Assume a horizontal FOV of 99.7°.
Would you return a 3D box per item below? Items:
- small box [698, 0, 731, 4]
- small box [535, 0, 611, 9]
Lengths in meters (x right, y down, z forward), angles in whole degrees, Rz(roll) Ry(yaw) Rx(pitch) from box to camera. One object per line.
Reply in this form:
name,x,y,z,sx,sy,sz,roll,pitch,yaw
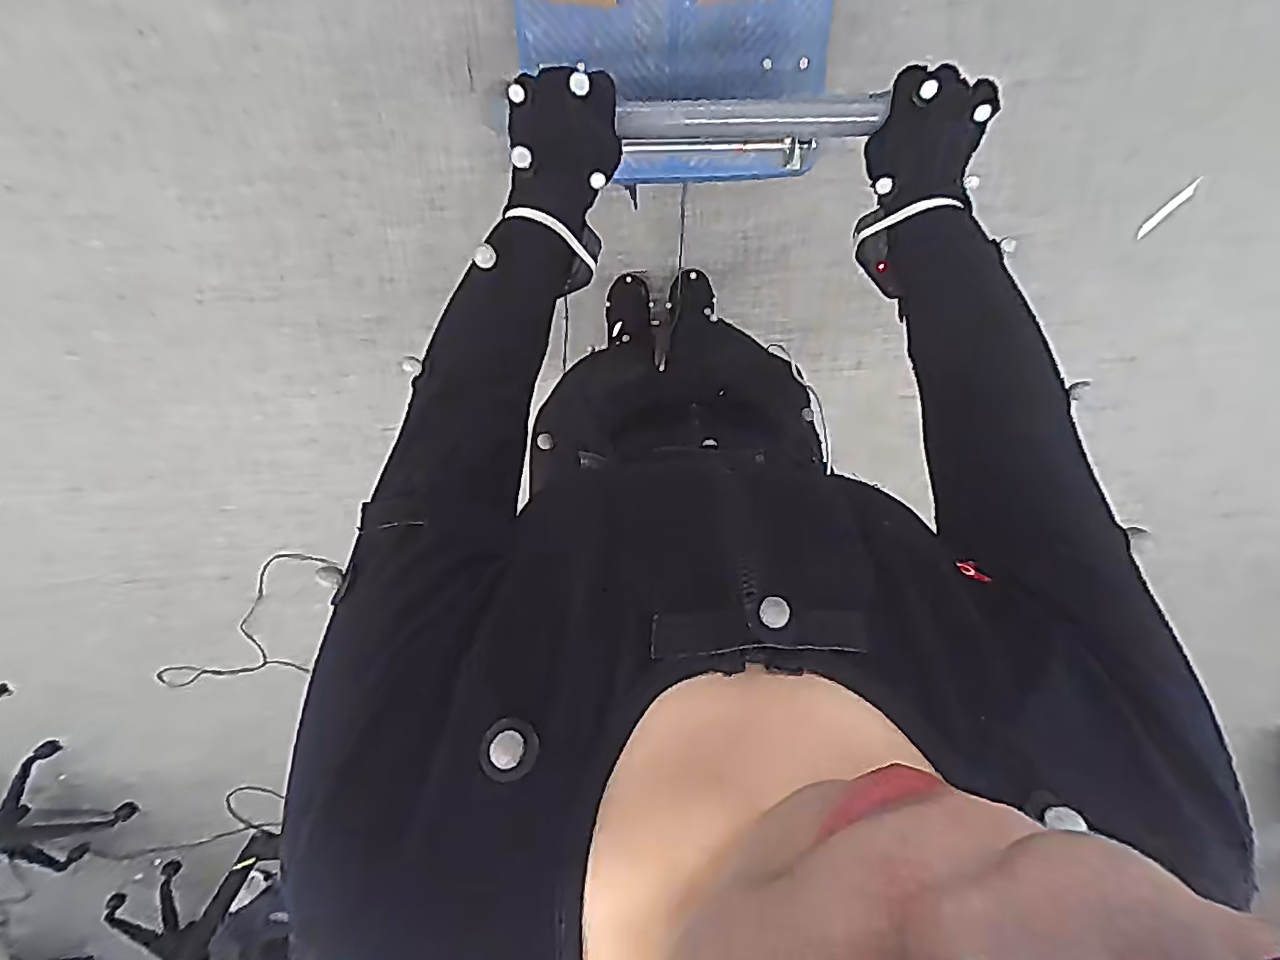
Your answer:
small box,0.176,-0.904,0.866,0.179,0.176,0.168,-7,114,2
small box,-0.128,-0.893,0.862,0.179,0.176,0.168,3,113,-5
